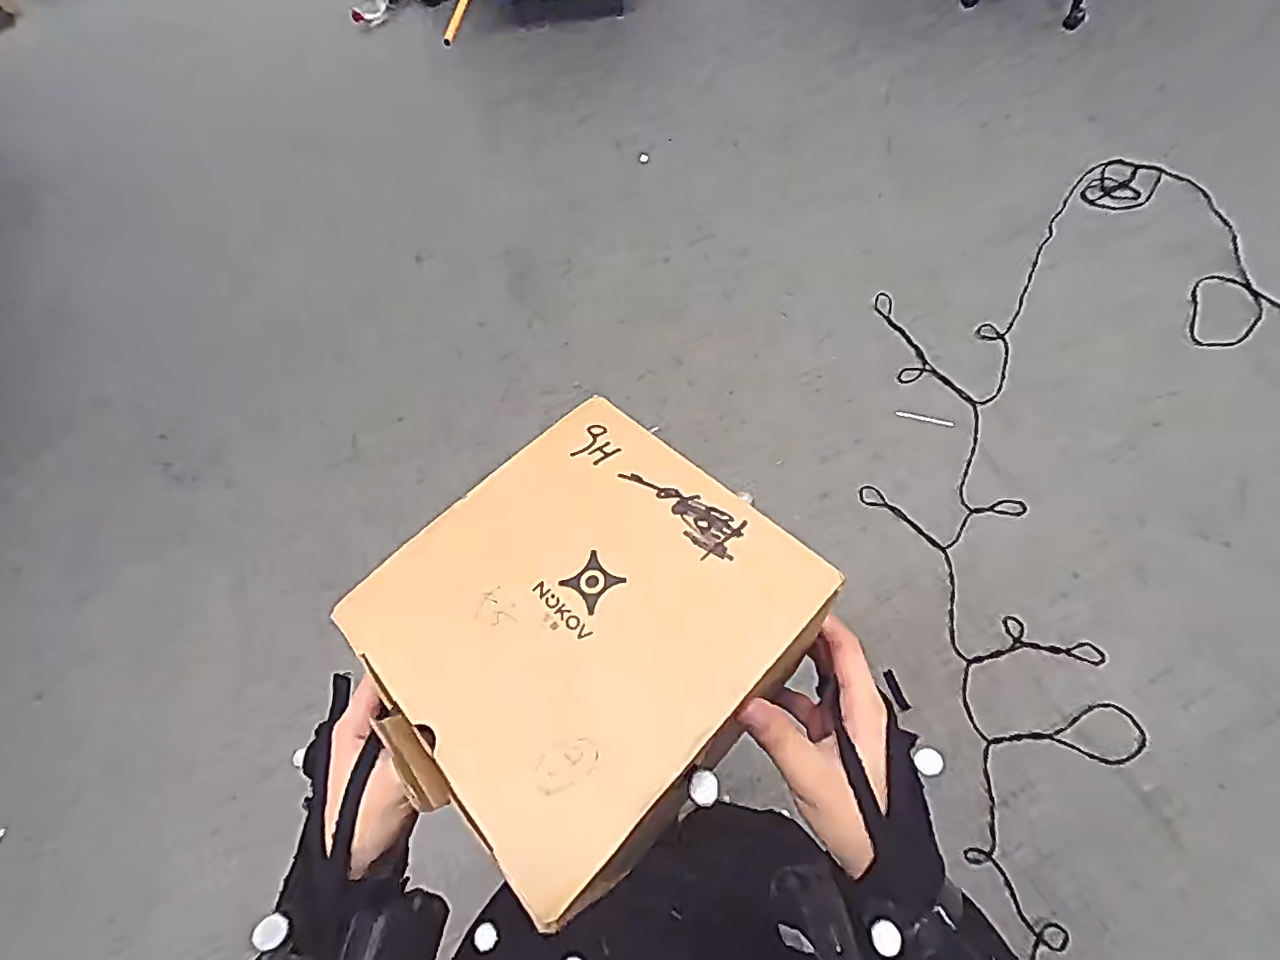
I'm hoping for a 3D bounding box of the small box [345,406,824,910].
[{"bbox_3d":[-0.020,0.098,0.320,0.179,0.176,0.168,-43,62,-17],"label":"small box"}]
